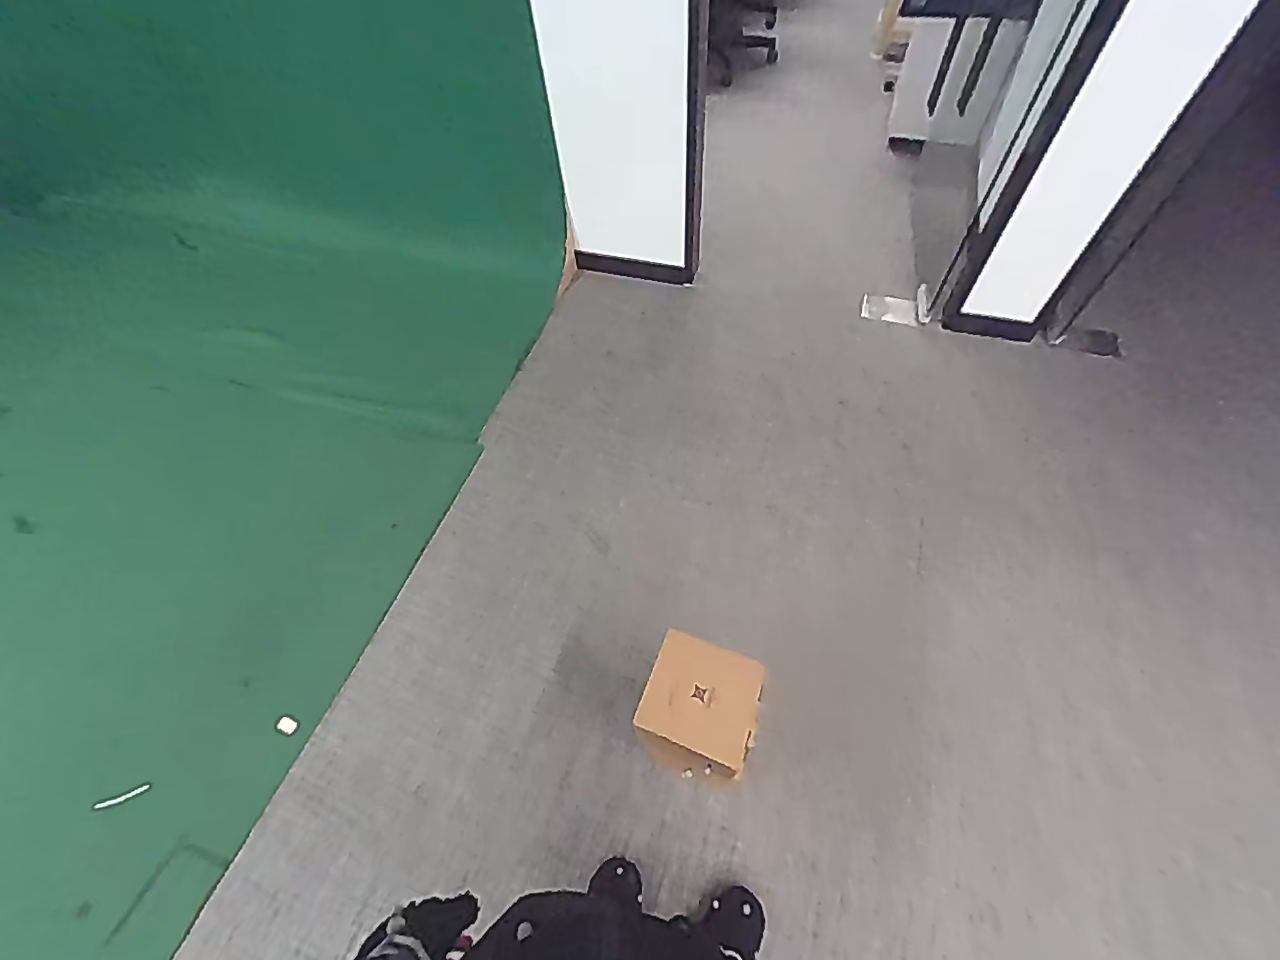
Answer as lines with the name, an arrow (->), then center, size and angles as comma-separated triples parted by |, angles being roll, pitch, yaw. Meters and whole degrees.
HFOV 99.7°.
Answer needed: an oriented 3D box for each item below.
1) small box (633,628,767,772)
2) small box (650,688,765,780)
small box -> 0.104, 0.381, 0.926 | 0.179, 0.176, 0.168 | 16, 59, 16
small box -> 0.129, 0.469, 1.061 | 0.179, 0.176, 0.168 | 17, 61, 15
